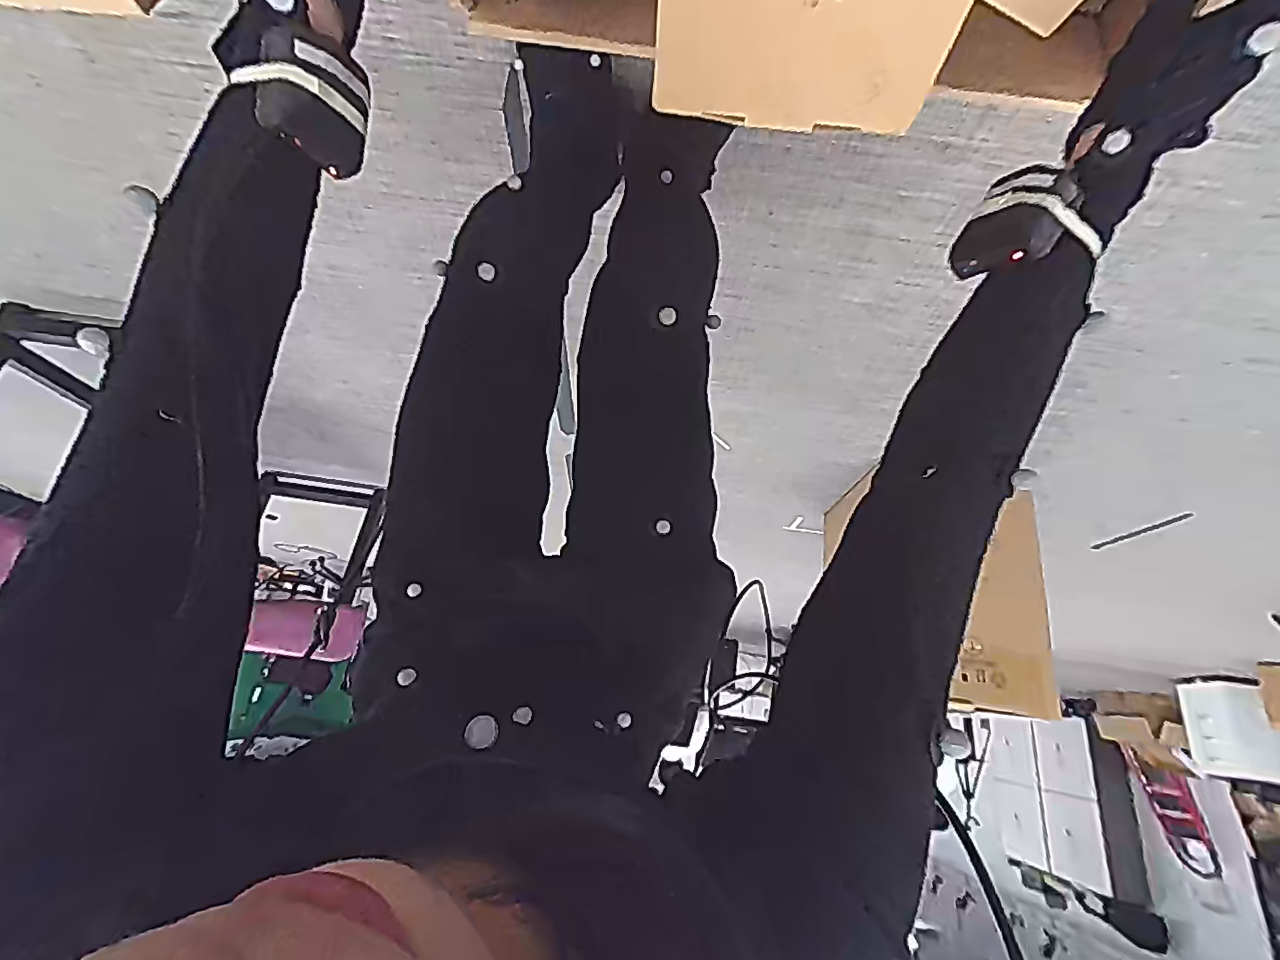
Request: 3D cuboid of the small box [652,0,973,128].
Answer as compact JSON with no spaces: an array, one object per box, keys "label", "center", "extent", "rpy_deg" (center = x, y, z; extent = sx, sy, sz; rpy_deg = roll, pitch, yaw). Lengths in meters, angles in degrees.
[{"label":"small box","center":[0.100,-0.336,0.291],"extent":[0.168,0.176,0.179],"rpy_deg":[6,156,2]}]
